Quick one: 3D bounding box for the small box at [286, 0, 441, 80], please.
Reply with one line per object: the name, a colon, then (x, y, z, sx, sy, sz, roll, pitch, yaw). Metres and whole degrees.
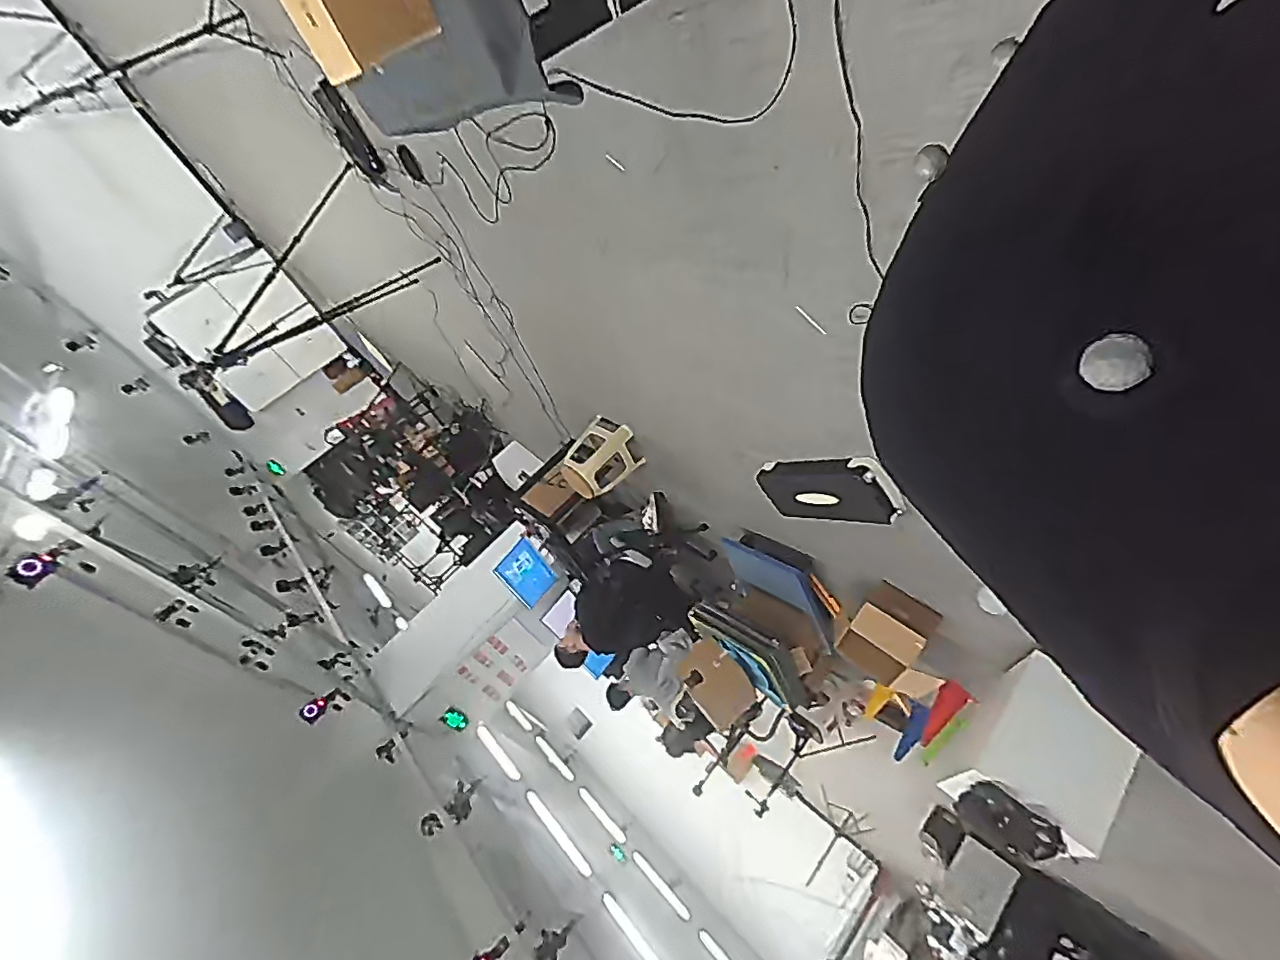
small box: (-0.460, -0.791, 0.875, 0.168, 0.176, 0.179, 28, 155, 41)
